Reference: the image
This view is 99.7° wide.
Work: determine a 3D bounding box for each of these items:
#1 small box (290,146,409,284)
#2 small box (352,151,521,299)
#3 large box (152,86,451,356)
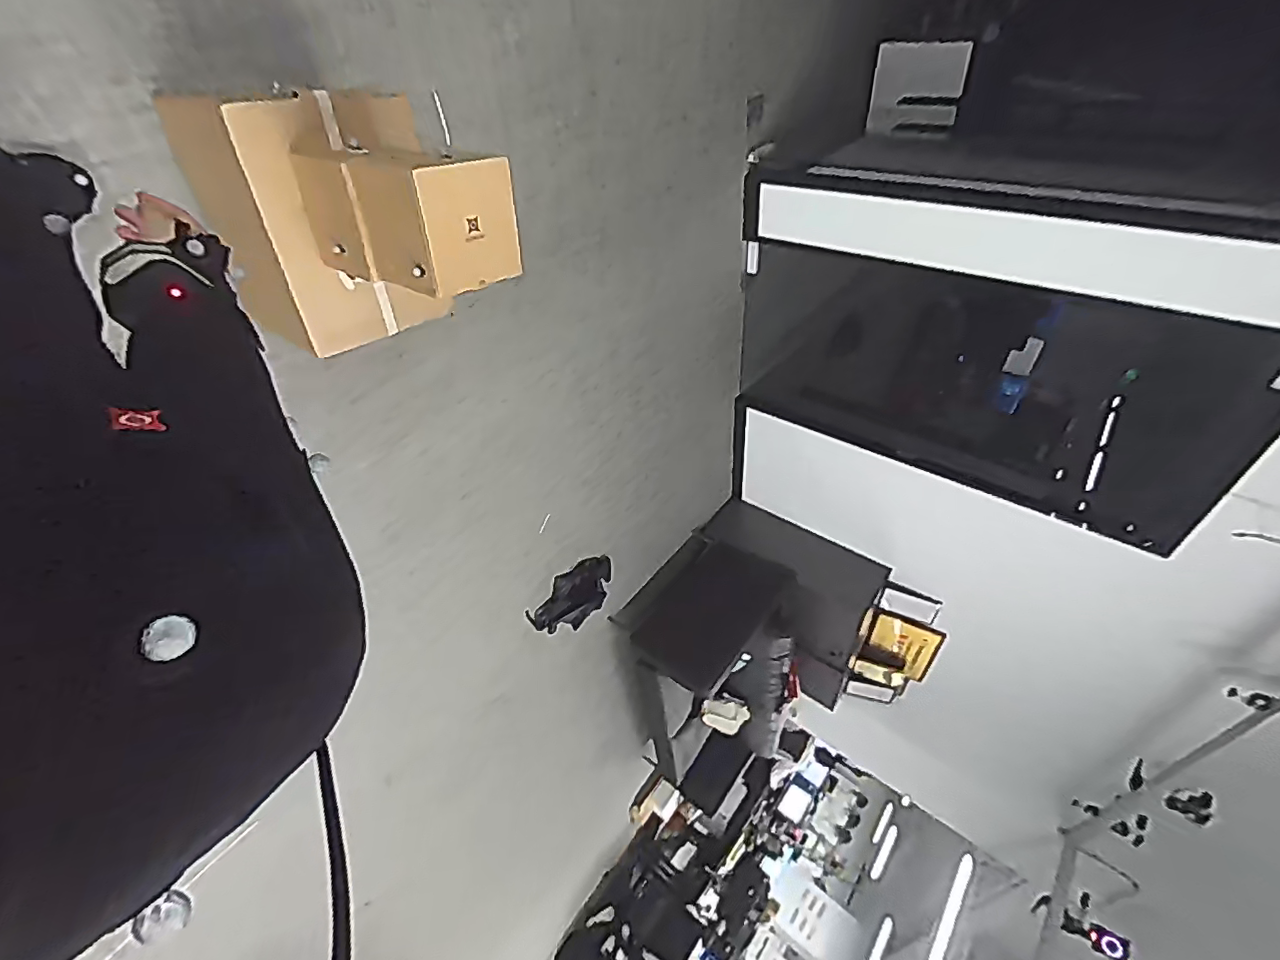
[{"bbox_3d":[-0.450,-0.456,0.920,0.168,0.176,0.179,-38,140,-39],"label":"small box"},{"bbox_3d":[-0.314,-0.406,0.845,0.168,0.176,0.179,-38,142,-39],"label":"small box"},{"bbox_3d":[-0.634,-0.520,1.070,0.320,0.320,0.408,-36,142,-37],"label":"large box"}]
